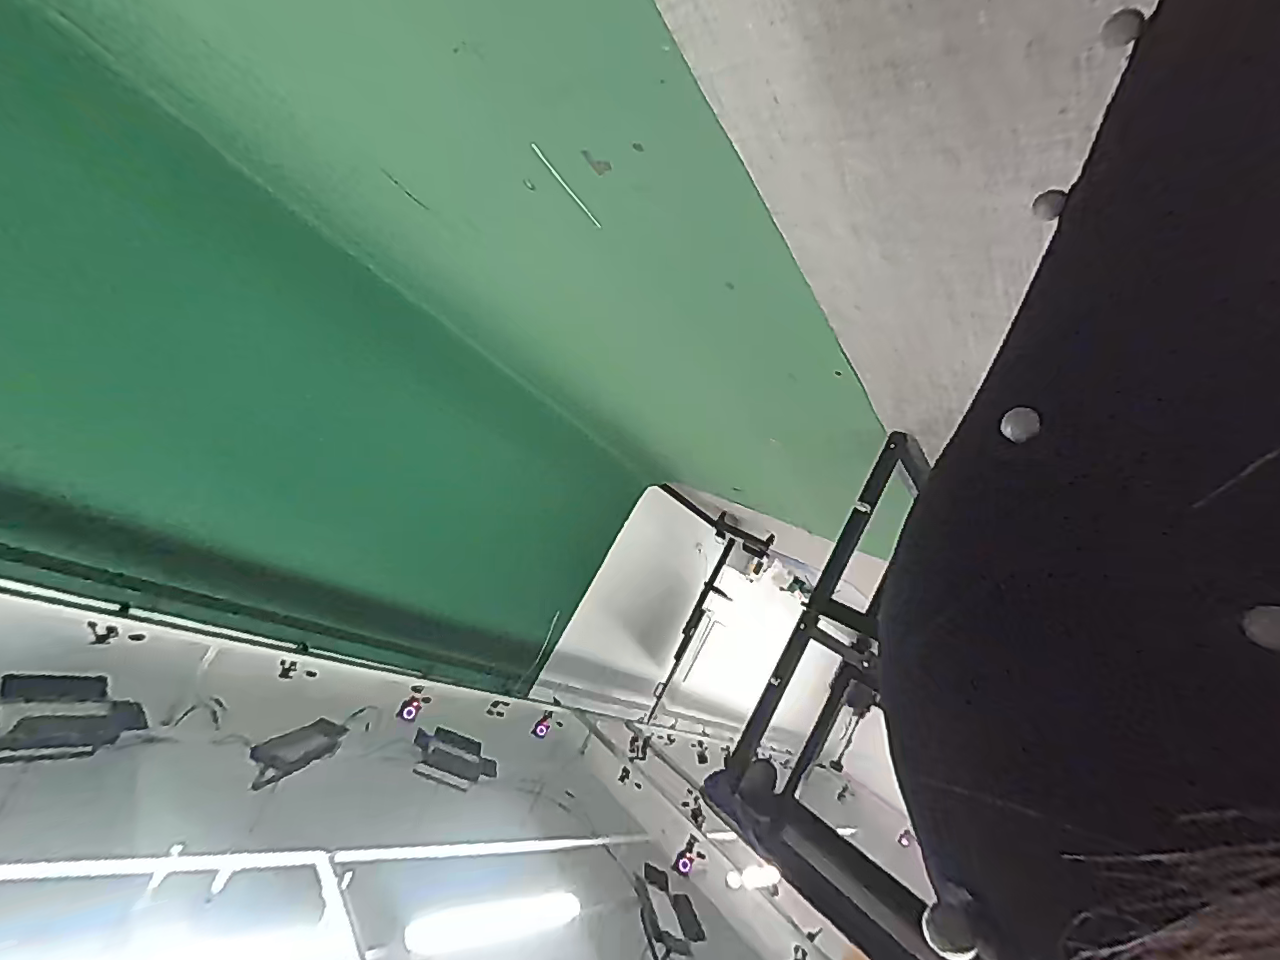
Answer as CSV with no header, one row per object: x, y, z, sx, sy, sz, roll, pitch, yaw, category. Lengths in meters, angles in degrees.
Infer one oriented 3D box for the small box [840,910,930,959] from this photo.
0.676,1.338,1.494,0.168,0.176,0.179,22,169,45,small box
